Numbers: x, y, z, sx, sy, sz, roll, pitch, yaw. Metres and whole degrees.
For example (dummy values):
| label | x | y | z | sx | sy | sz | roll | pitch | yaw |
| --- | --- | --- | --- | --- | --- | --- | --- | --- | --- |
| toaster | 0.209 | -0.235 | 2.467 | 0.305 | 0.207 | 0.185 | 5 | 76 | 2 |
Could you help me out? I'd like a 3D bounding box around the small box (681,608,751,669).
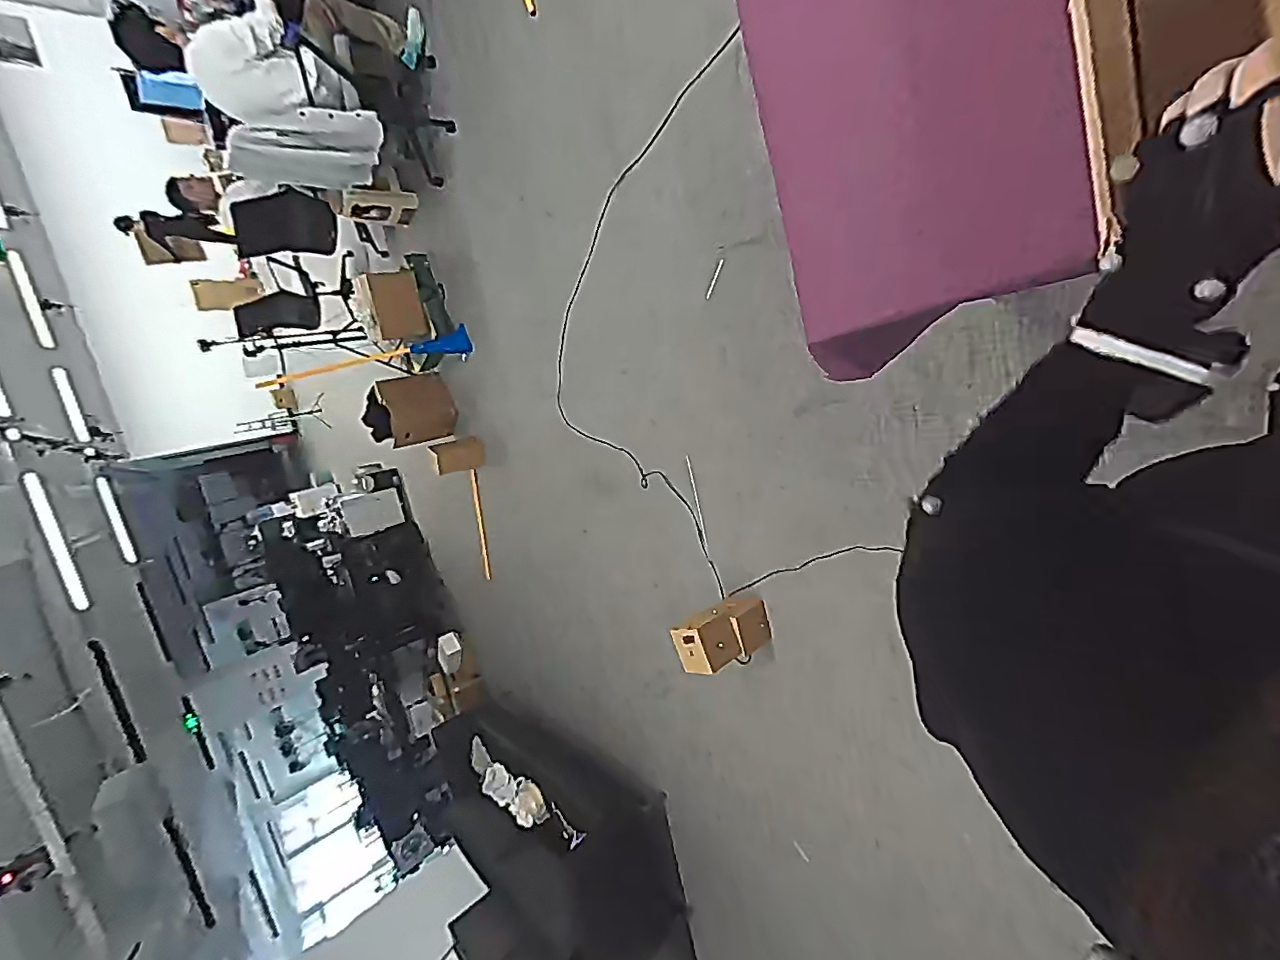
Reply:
| label | x | y | z | sx | sy | sz | roll | pitch | yaw |
| --- | --- | --- | --- | --- | --- | --- | --- | --- | --- |
| small box | 0.291 | 0.601 | 2.070 | 0.168 | 0.176 | 0.179 | -22 | 89 | 55 |
